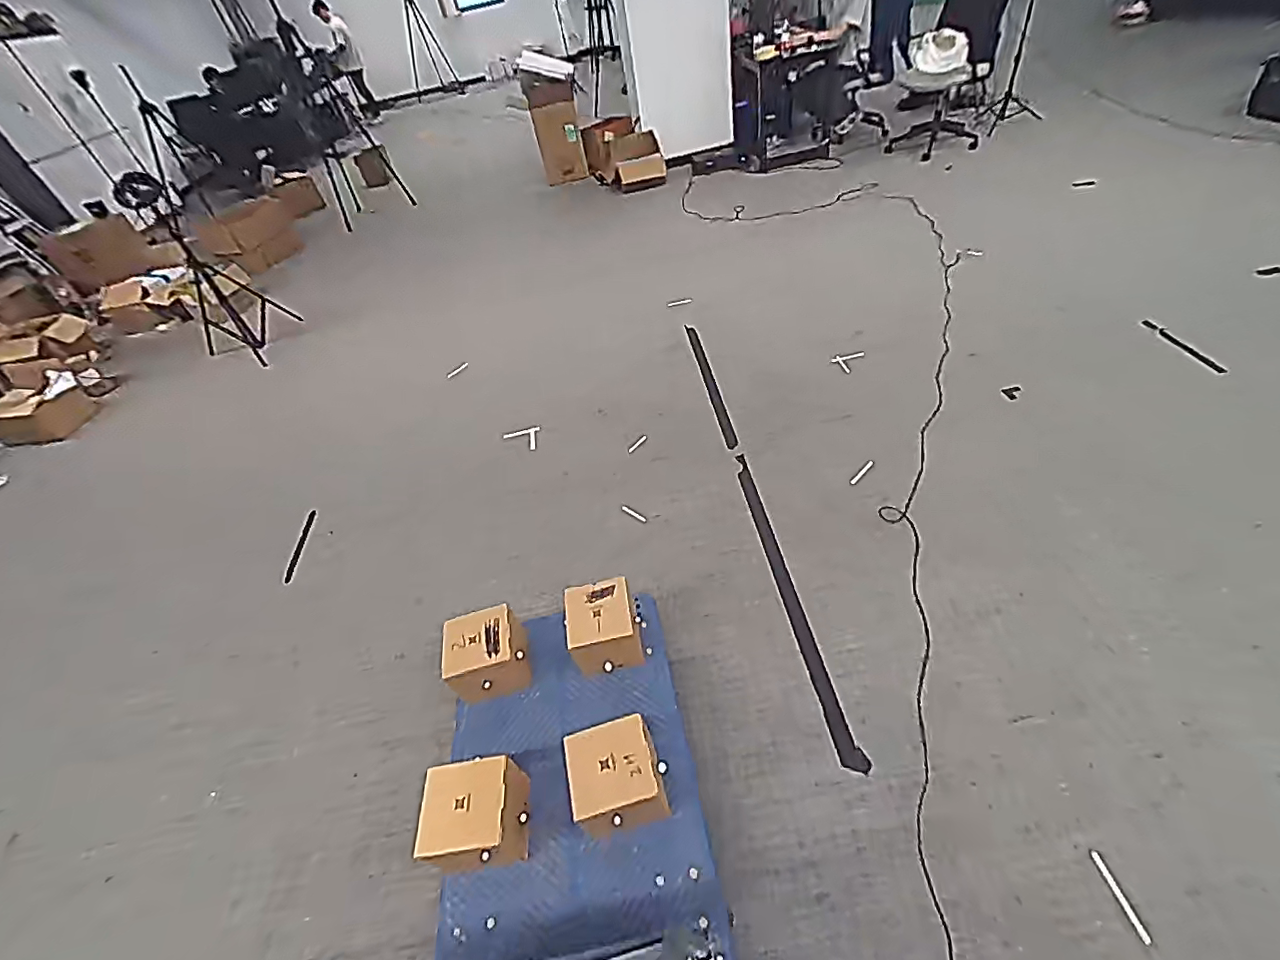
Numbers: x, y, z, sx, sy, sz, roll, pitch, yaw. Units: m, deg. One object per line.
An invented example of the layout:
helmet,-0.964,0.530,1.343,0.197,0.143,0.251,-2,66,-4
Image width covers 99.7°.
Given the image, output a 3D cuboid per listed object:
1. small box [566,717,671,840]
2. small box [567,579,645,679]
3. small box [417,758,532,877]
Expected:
small box,-0.045,0.642,1.157,0.179,0.176,0.168,-17,44,-2
small box,-0.089,0.392,1.418,0.168,0.176,0.179,-13,45,1
small box,-0.344,0.723,1.154,0.179,0.176,0.168,-11,44,1
